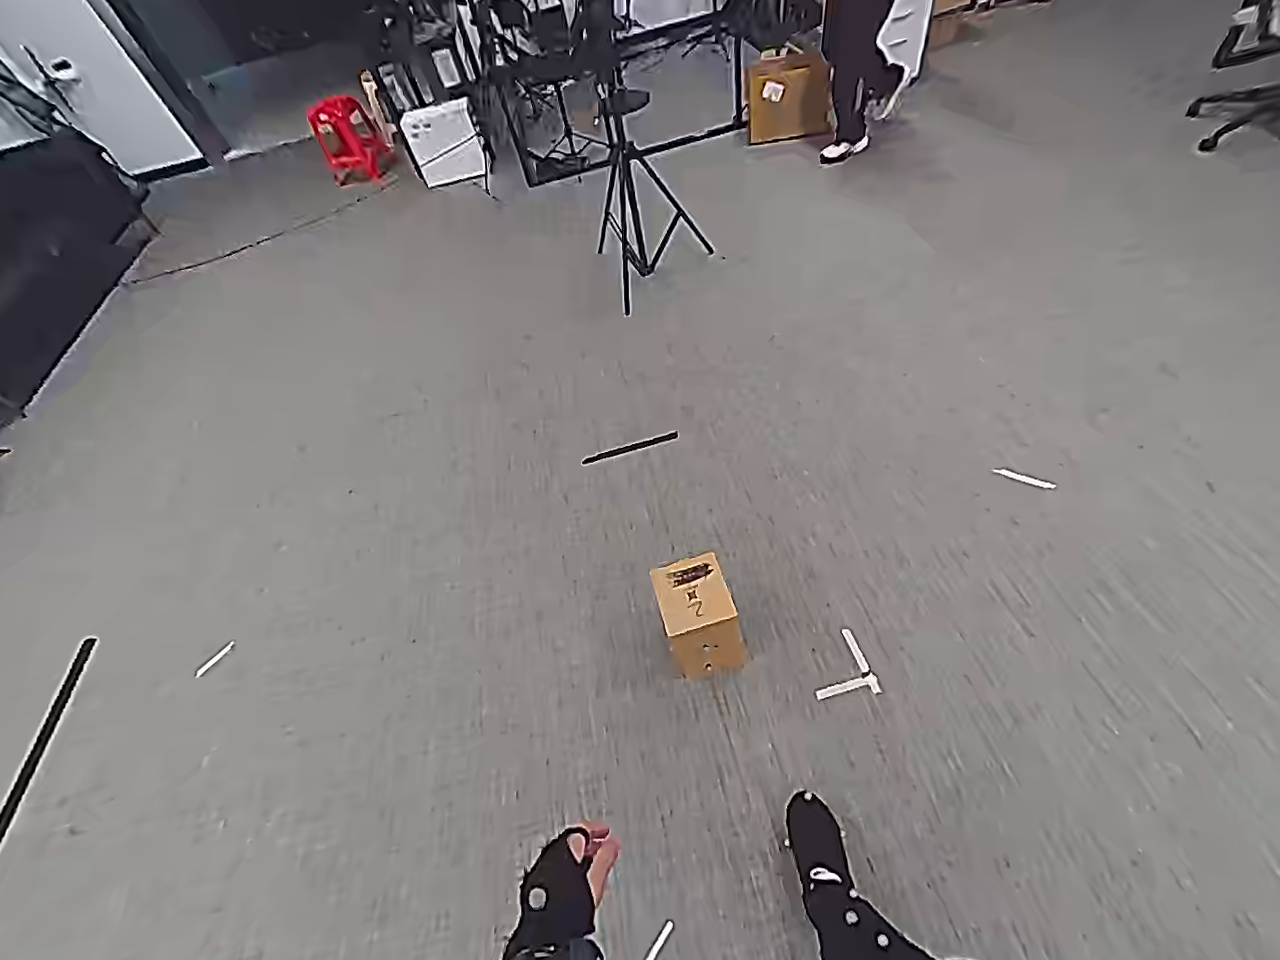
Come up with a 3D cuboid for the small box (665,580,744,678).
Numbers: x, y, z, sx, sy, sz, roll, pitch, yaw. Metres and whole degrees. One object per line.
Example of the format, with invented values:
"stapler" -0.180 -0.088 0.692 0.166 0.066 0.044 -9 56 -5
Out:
"small box" 0.172 0.400 1.444 0.168 0.176 0.179 -16 51 -1
